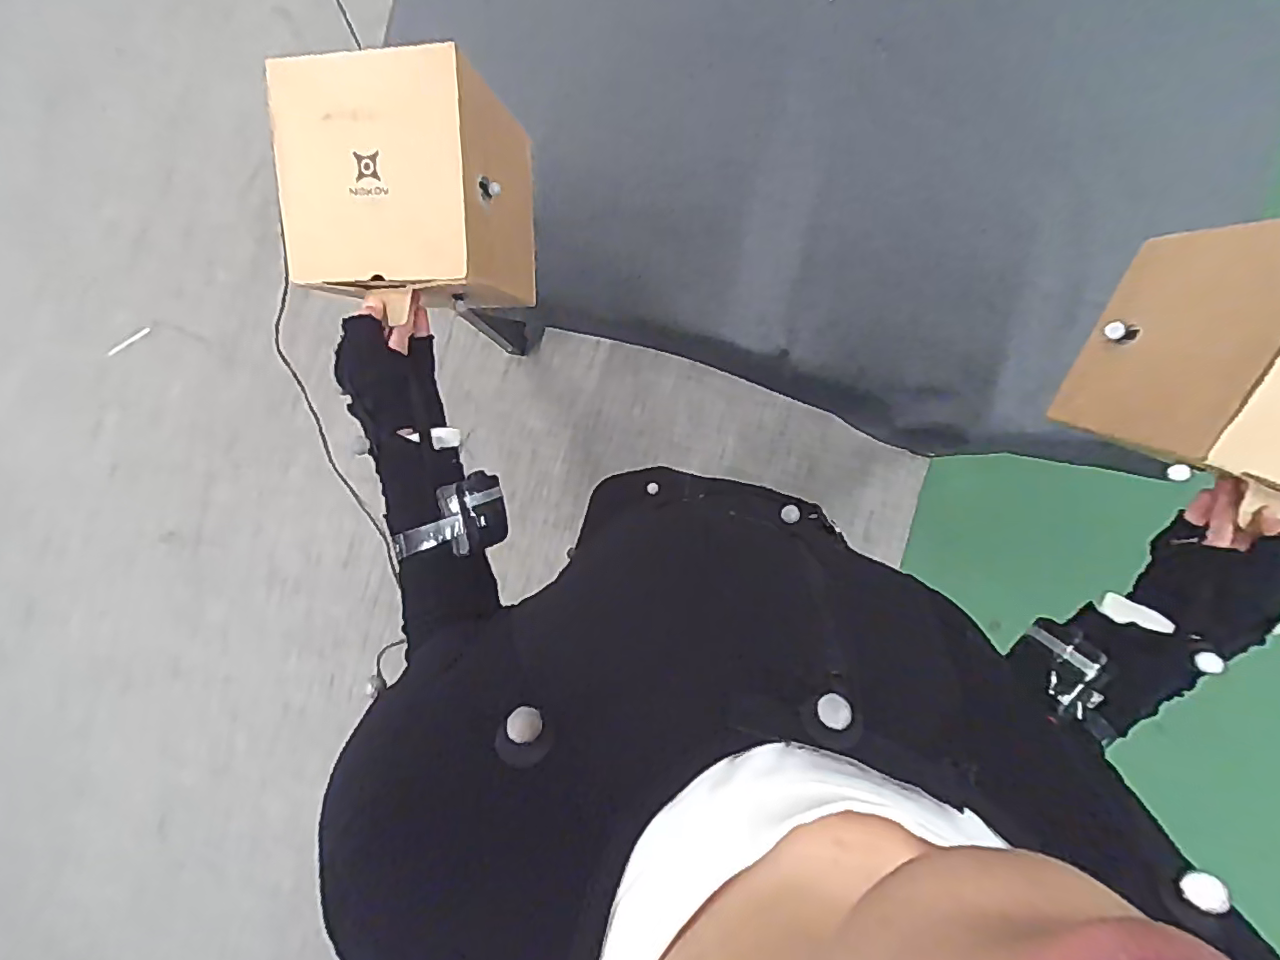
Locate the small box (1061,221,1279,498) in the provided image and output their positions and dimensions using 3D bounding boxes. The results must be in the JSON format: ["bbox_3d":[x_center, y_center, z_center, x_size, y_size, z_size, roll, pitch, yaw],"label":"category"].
[{"bbox_3d":[0.503,-0.092,0.442,0.168,0.176,0.179,18,109,-5],"label":"small box"}]

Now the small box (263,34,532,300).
[{"bbox_3d":[-0.207,-0.268,0.510,0.168,0.176,0.179,1,101,8],"label":"small box"}]
